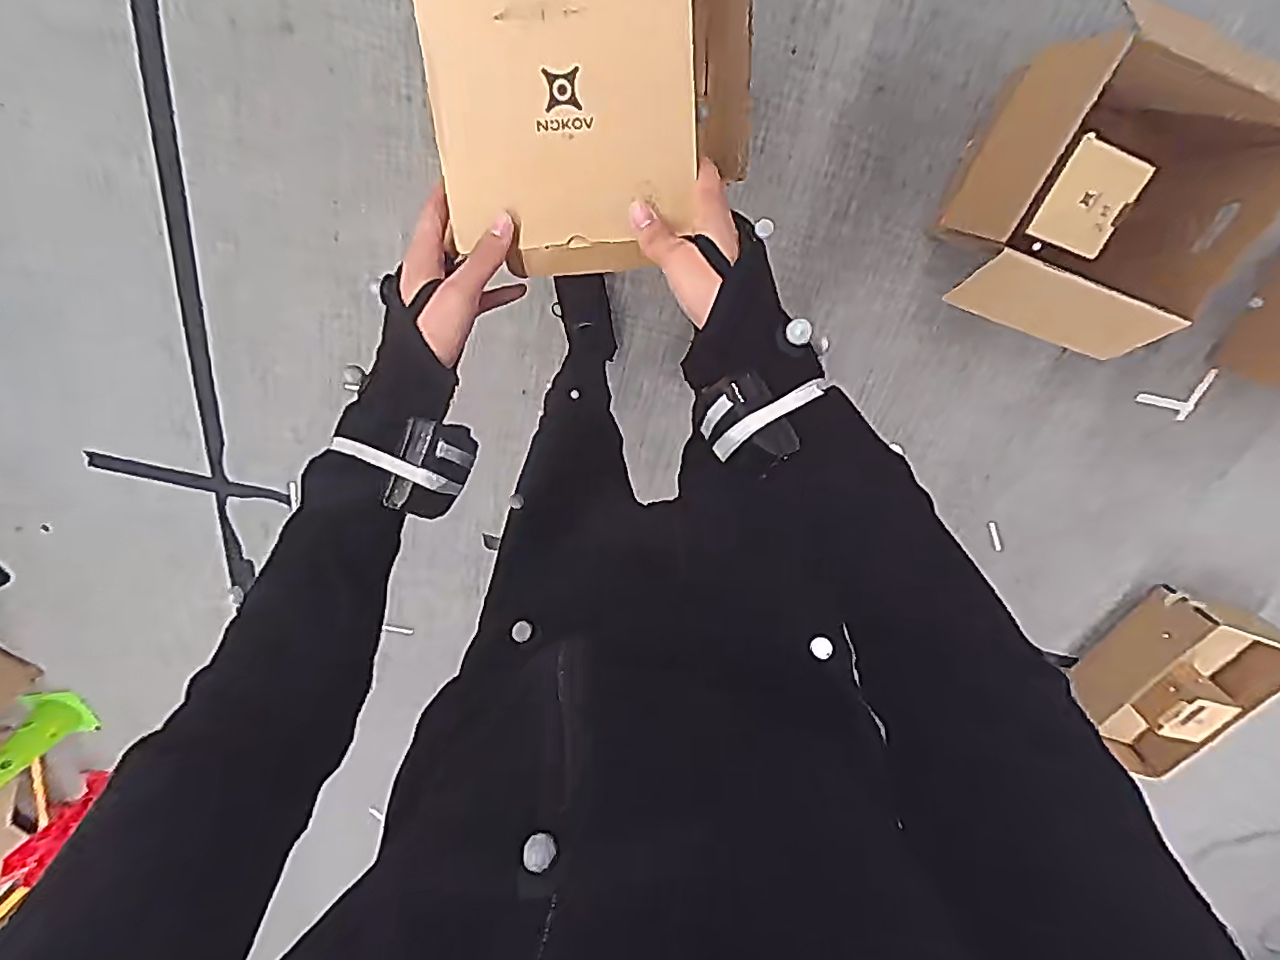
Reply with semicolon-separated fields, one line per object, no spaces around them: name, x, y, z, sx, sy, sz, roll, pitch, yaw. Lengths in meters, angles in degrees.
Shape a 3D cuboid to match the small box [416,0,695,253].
small box;-0.049;-0.270;0.409;0.168;0.176;0.179;-4;110;-1
